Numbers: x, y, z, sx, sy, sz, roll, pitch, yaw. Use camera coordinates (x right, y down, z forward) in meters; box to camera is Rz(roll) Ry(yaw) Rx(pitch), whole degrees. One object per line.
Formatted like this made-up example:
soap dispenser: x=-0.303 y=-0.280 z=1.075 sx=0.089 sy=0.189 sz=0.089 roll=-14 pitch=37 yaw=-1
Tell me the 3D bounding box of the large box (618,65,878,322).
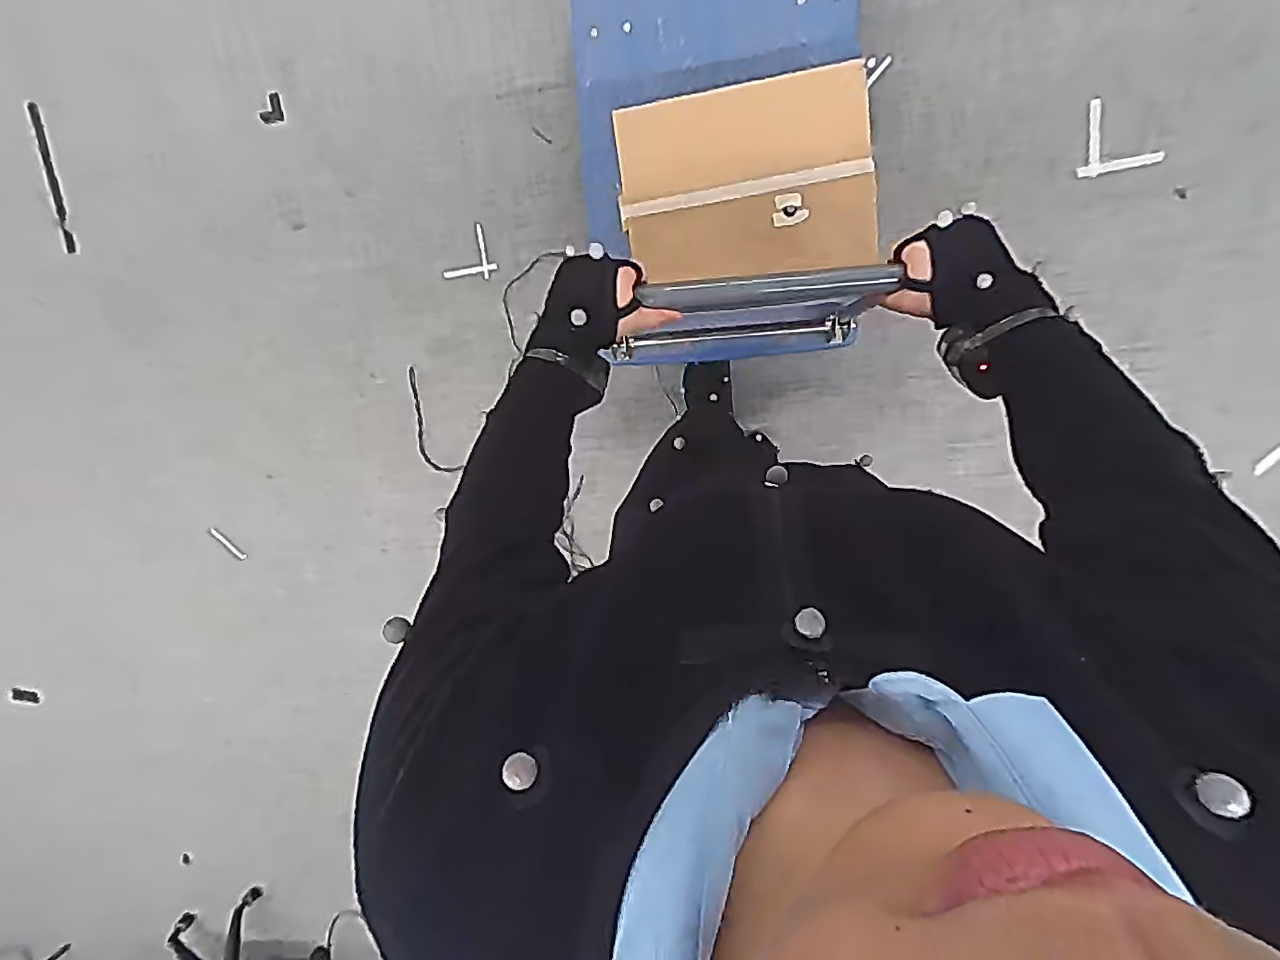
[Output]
large box: x=0.192 y=-0.507 z=1.044 sx=0.408 sy=0.320 sz=0.320 roll=-8 pitch=102 yaw=6
